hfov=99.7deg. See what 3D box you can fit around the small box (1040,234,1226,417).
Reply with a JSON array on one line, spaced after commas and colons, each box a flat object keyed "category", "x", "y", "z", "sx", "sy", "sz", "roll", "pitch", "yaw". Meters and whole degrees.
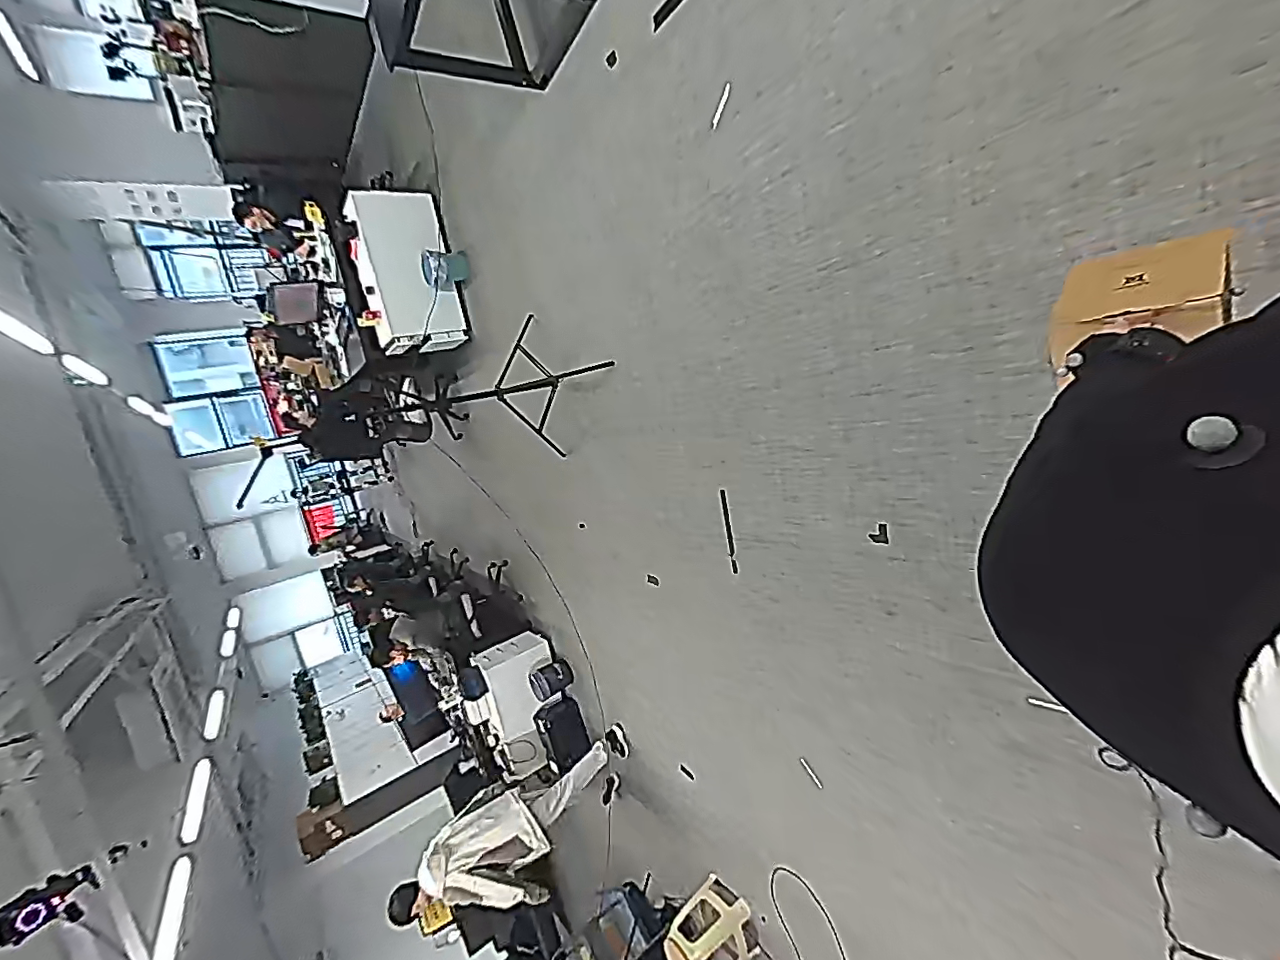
[{"category": "small box", "x": 0.688, "y": -0.200, "z": 0.751, "sx": 0.168, "sy": 0.179, "sz": 0.176, "roll": 0, "pitch": 131, "yaw": 49}]
